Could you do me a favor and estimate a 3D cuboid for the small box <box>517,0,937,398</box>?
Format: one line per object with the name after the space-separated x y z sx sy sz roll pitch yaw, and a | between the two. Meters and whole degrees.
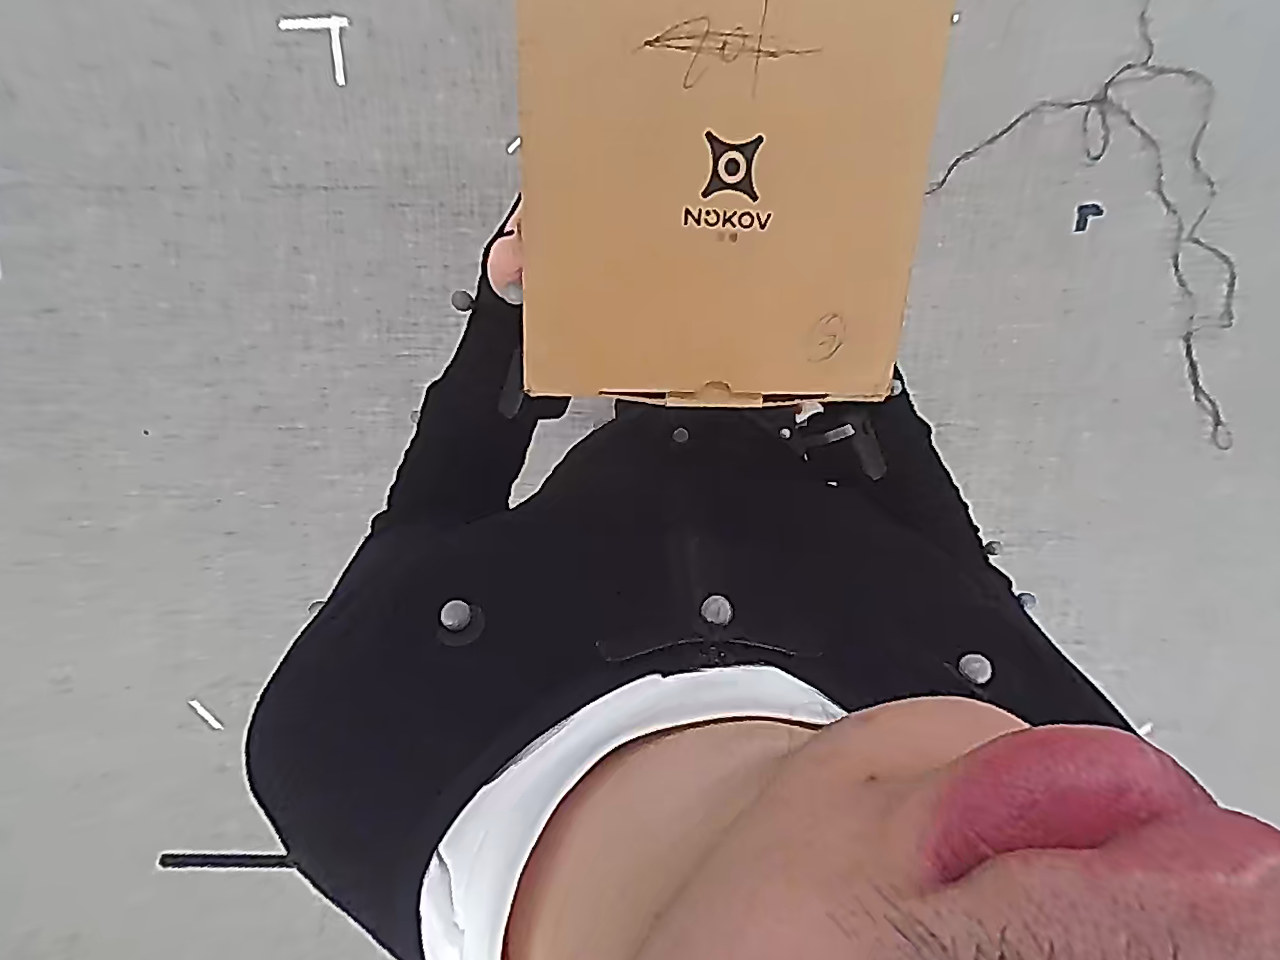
0.024 -0.147 0.301 0.168 0.176 0.179 0 107 -8 | small box
